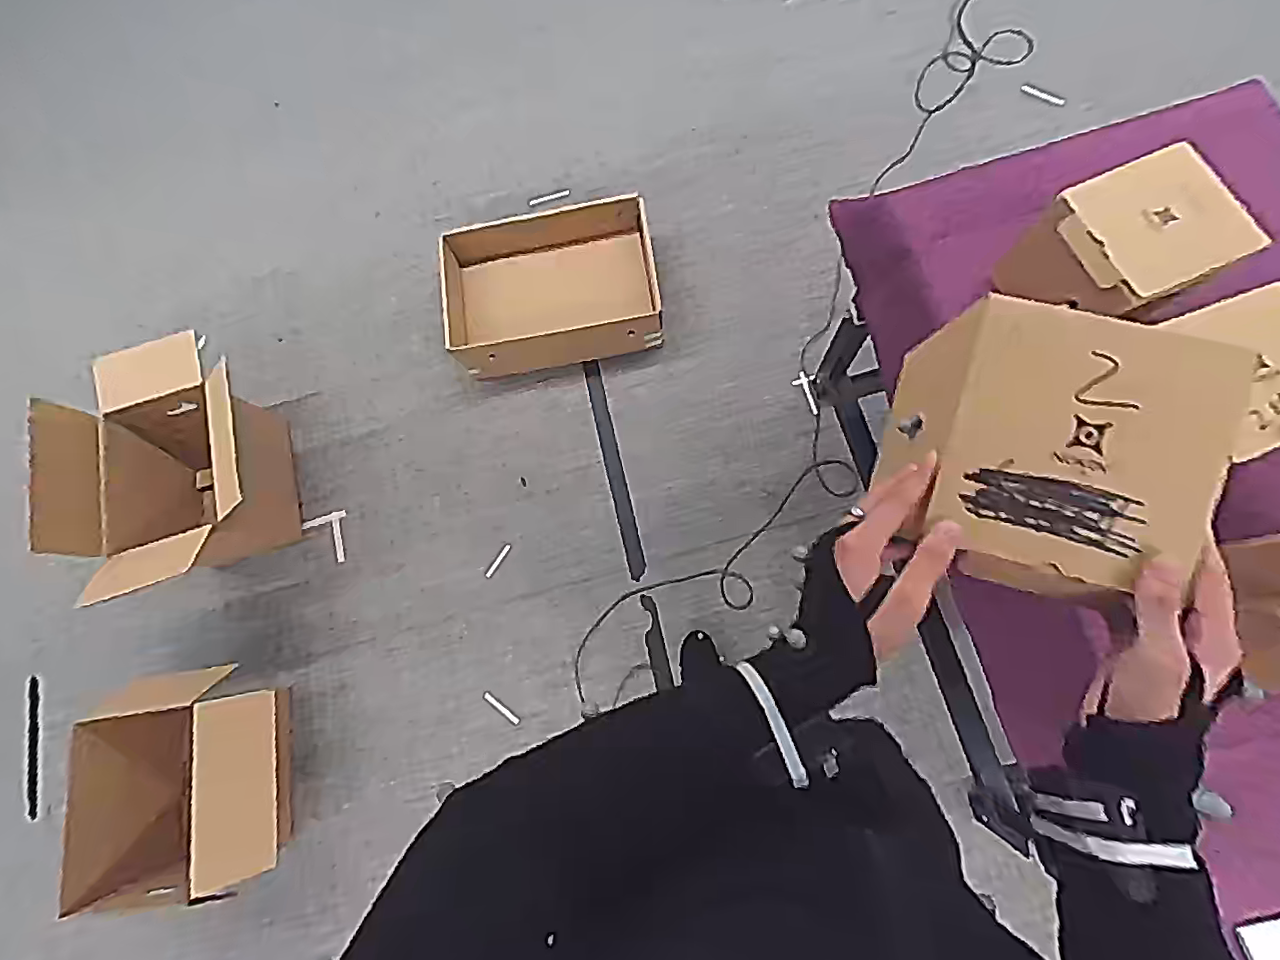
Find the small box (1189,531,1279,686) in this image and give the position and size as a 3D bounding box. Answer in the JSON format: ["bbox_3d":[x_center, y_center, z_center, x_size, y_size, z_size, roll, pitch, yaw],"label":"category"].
[{"bbox_3d":[0.783,0.135,0.602,0.179,0.176,0.168,-12,76,2],"label":"small box"}]

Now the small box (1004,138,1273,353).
[{"bbox_3d":[0.633,-0.298,0.723,0.179,0.176,0.168,-23,76,0],"label":"small box"}]
